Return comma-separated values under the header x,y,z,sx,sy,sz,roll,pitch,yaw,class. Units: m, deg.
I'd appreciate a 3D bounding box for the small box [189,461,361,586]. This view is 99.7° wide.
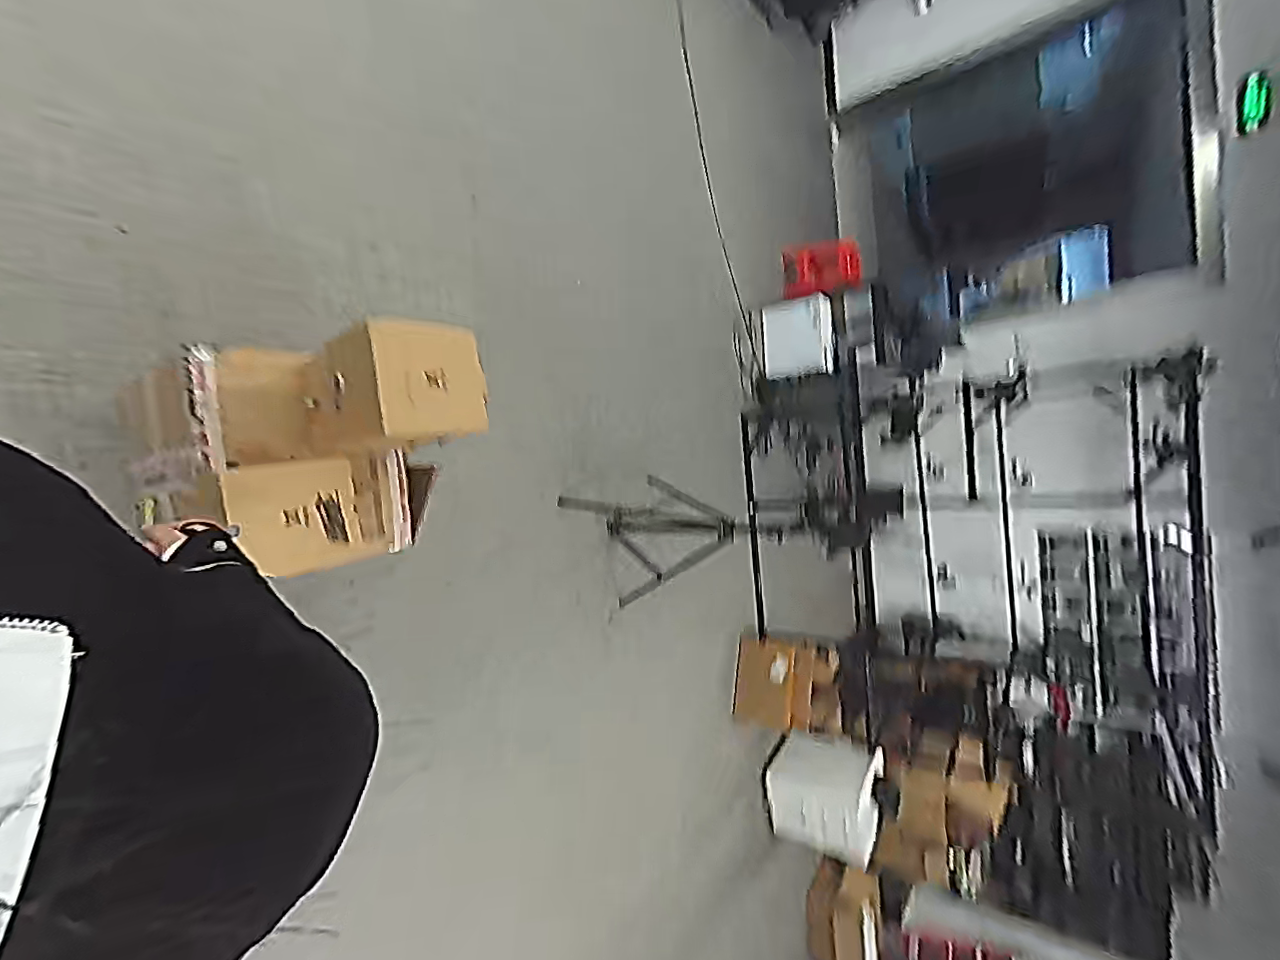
x,y,z,sx,sy,sz,roll,pitch,yaw,class
-0.576,0.060,0.857,0.179,0.176,0.168,-11,96,-50,small box

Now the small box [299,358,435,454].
x,y,z,sx,sy,sz,roll,pitch,yaw,class
-0.486,-0.138,0.983,0.179,0.176,0.168,-8,93,-50,small box

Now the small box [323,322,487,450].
x,y,z,sx,sy,sz,roll,pitch,yaw,class
-0.373,-0.141,0.864,0.179,0.176,0.168,-9,92,-50,small box
